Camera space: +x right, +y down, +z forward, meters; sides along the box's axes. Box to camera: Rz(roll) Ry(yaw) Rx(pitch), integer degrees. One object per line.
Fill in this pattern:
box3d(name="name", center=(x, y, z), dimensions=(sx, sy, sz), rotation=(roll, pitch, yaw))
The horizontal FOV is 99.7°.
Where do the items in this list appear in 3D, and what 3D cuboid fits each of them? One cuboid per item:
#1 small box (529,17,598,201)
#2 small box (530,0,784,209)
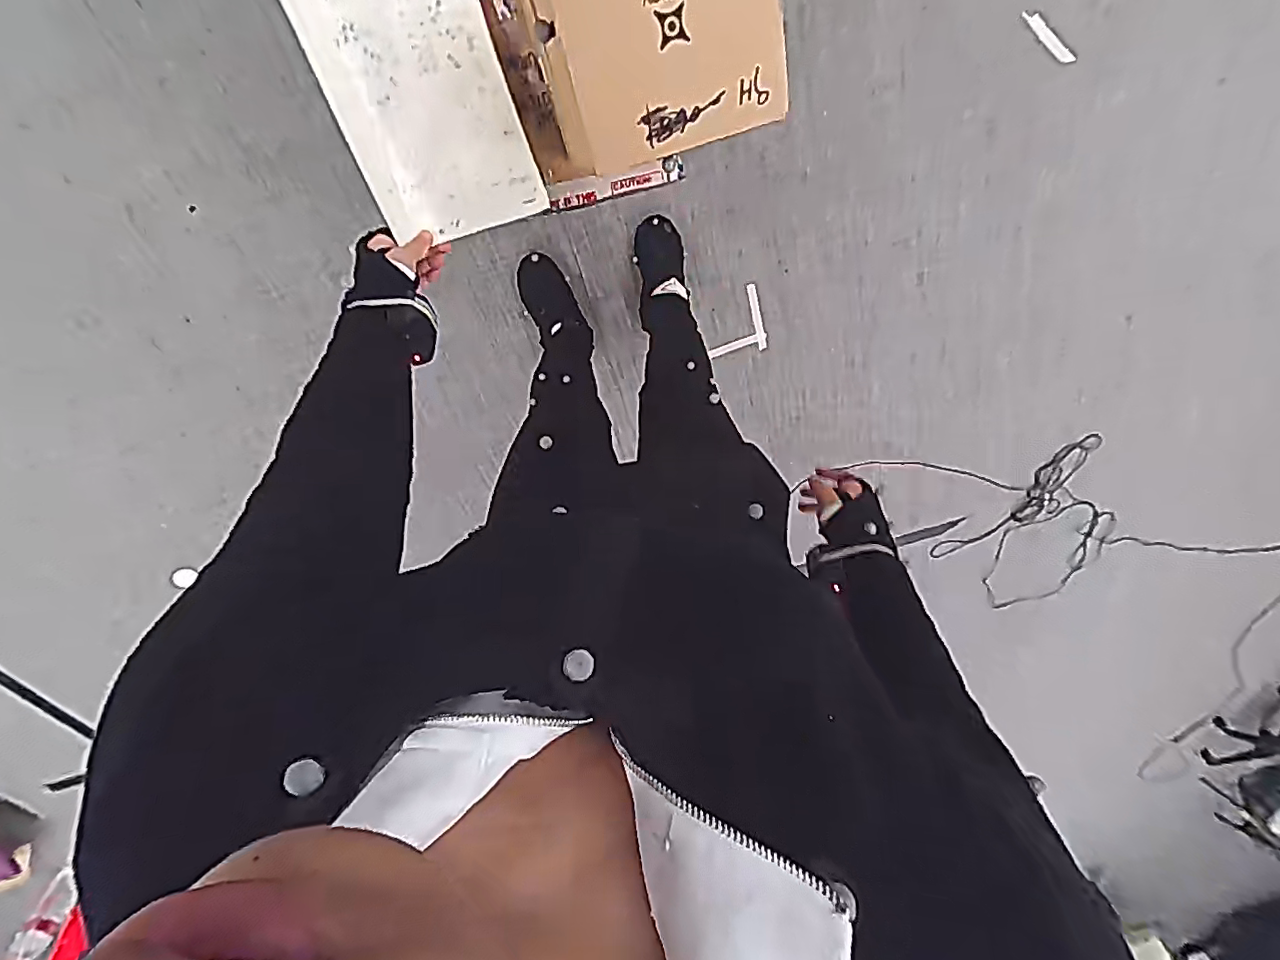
box3d(name="small box", center=(-0.017, -0.442, 0.613), dimensions=(0.179, 0.176, 0.168), rotation=(-19, 125, 2))
box3d(name="small box", center=(0.008, -0.359, 0.473), dimensions=(0.168, 0.176, 0.179), rotation=(-18, 124, -1))
